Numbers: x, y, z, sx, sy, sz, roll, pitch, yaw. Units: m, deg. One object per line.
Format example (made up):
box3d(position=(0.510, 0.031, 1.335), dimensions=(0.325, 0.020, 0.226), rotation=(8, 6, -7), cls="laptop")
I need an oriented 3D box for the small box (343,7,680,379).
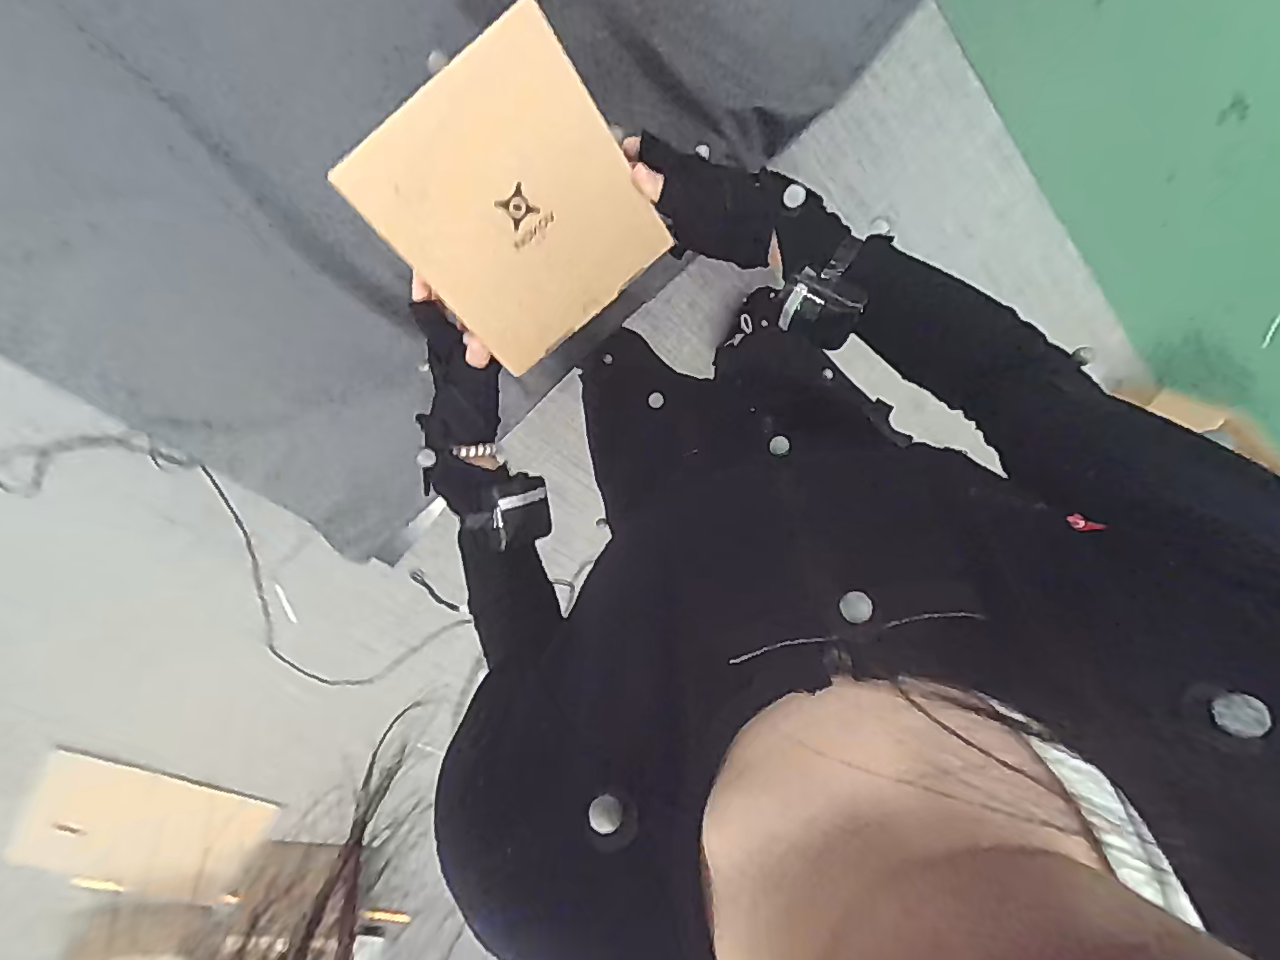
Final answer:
box3d(position=(-0.103, -0.218, 0.438), dimensions=(0.168, 0.176, 0.179), rotation=(-39, 127, 3), cls="small box")
